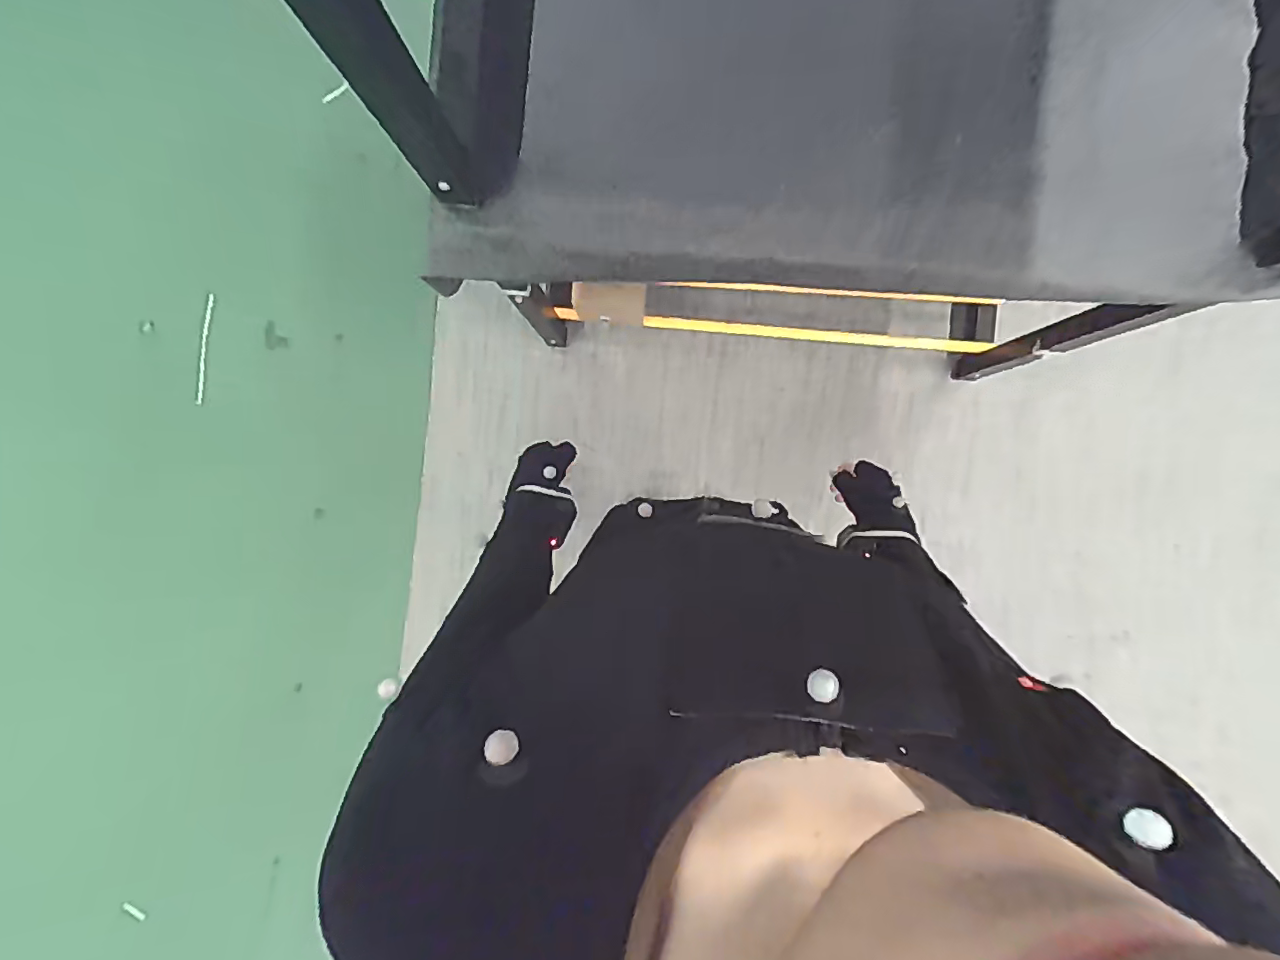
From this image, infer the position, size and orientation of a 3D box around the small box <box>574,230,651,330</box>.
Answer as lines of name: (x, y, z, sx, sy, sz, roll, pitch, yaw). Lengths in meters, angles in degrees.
small box: (-0.062, -0.480, 1.314, 0.168, 0.176, 0.179, 5, 91, 2)
